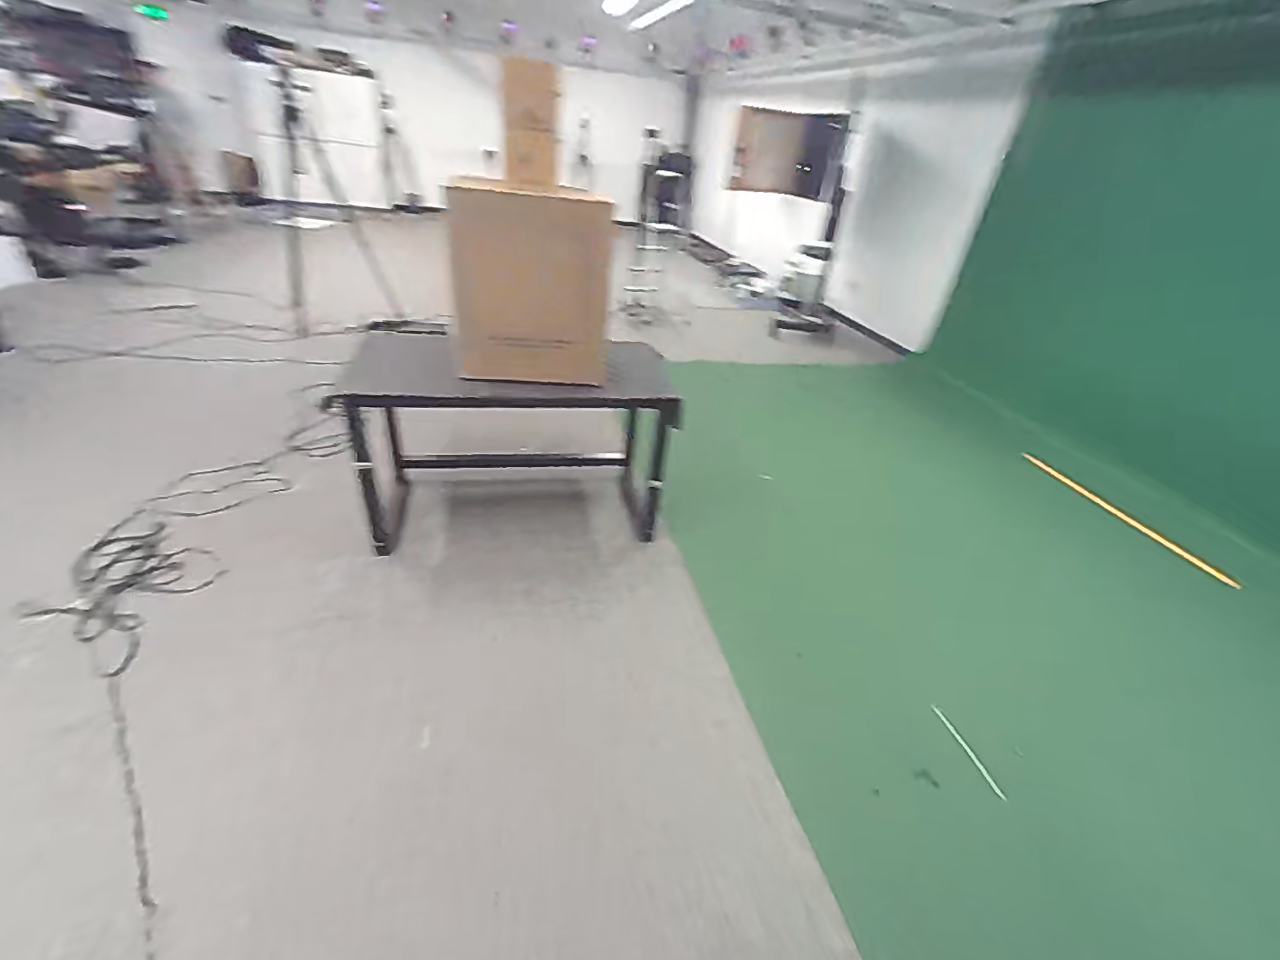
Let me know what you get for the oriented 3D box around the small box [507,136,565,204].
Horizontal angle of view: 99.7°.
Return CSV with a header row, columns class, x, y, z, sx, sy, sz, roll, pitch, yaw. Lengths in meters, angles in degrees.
class,x,y,z,sx,sy,sz,roll,pitch,yaw
small box,-0.324,-0.983,1.716,0.168,0.176,0.179,3,34,-7
